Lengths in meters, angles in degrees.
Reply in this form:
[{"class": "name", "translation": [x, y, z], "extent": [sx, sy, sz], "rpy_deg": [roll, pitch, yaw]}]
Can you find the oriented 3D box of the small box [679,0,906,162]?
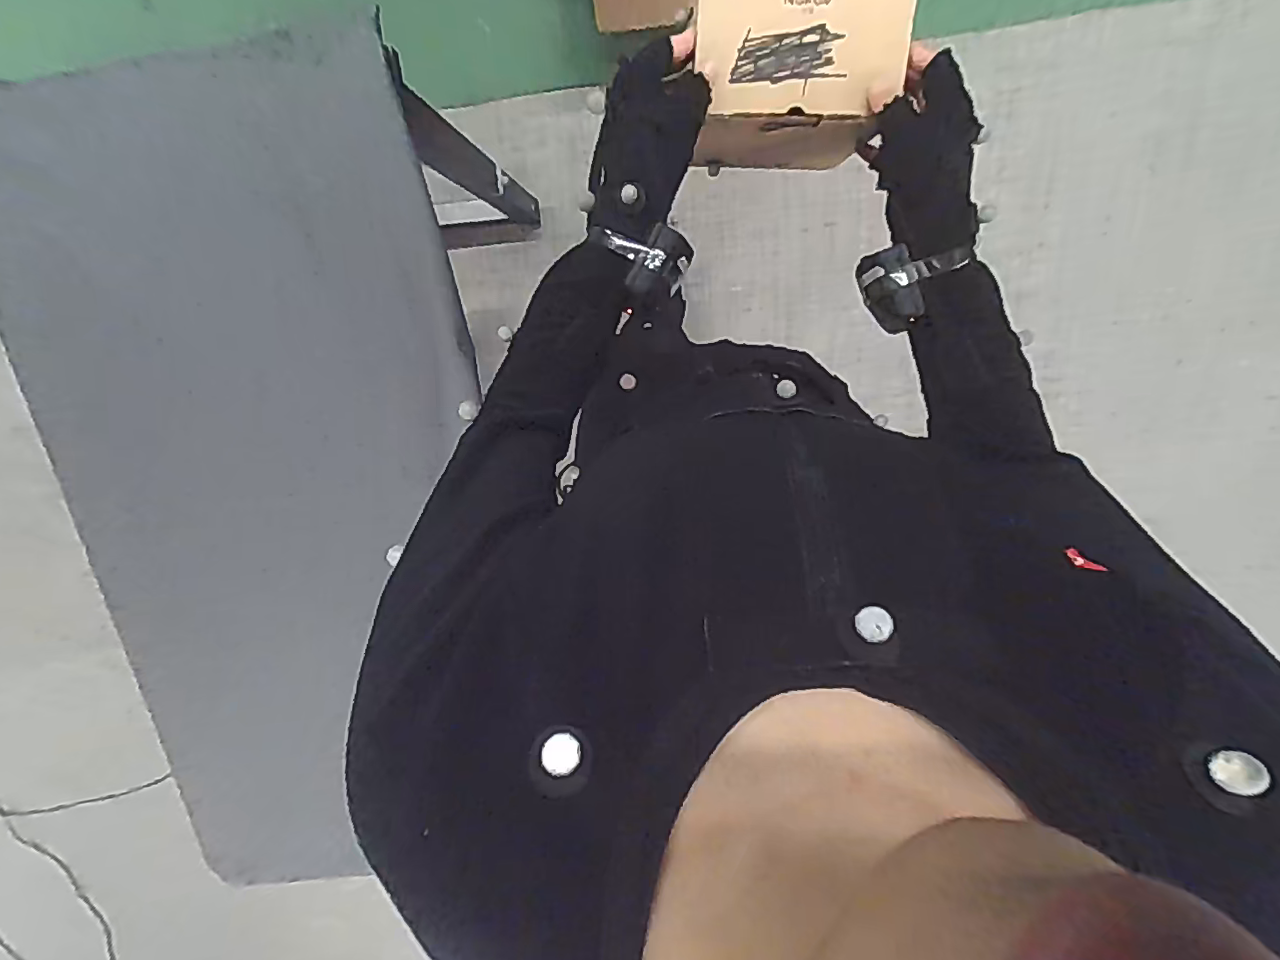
[{"class": "small box", "translation": [0.122, -0.400, 0.481], "extent": [0.168, 0.176, 0.179], "rpy_deg": [2, 107, 1]}]
